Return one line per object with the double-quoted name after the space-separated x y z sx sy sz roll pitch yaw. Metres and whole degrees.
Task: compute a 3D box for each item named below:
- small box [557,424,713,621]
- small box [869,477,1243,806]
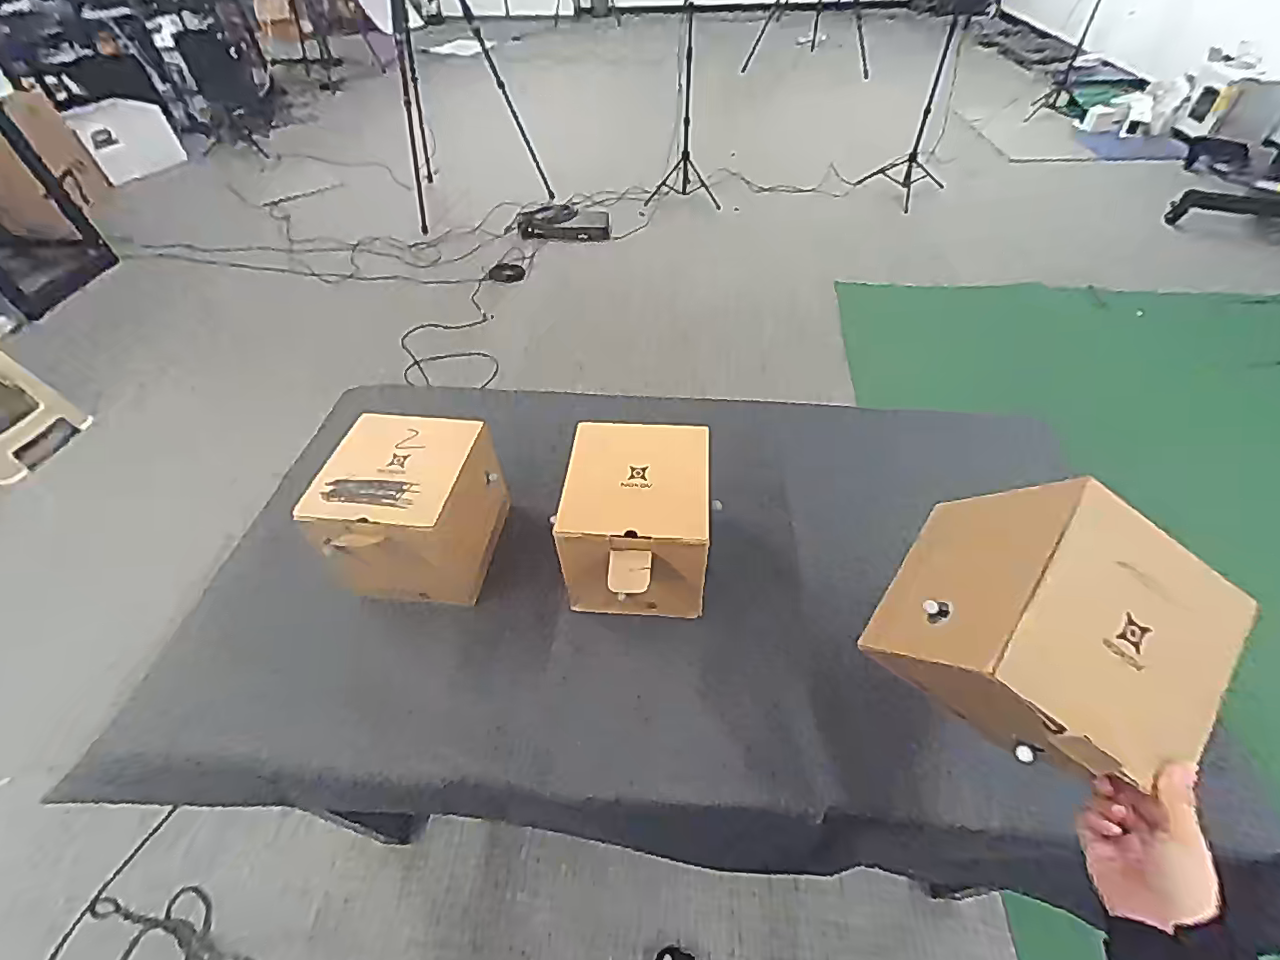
0.000 0.053 0.678 0.168 0.176 0.179 3 48 4 "small box"
0.334 0.126 0.468 0.168 0.176 0.179 36 75 -2 "small box"
